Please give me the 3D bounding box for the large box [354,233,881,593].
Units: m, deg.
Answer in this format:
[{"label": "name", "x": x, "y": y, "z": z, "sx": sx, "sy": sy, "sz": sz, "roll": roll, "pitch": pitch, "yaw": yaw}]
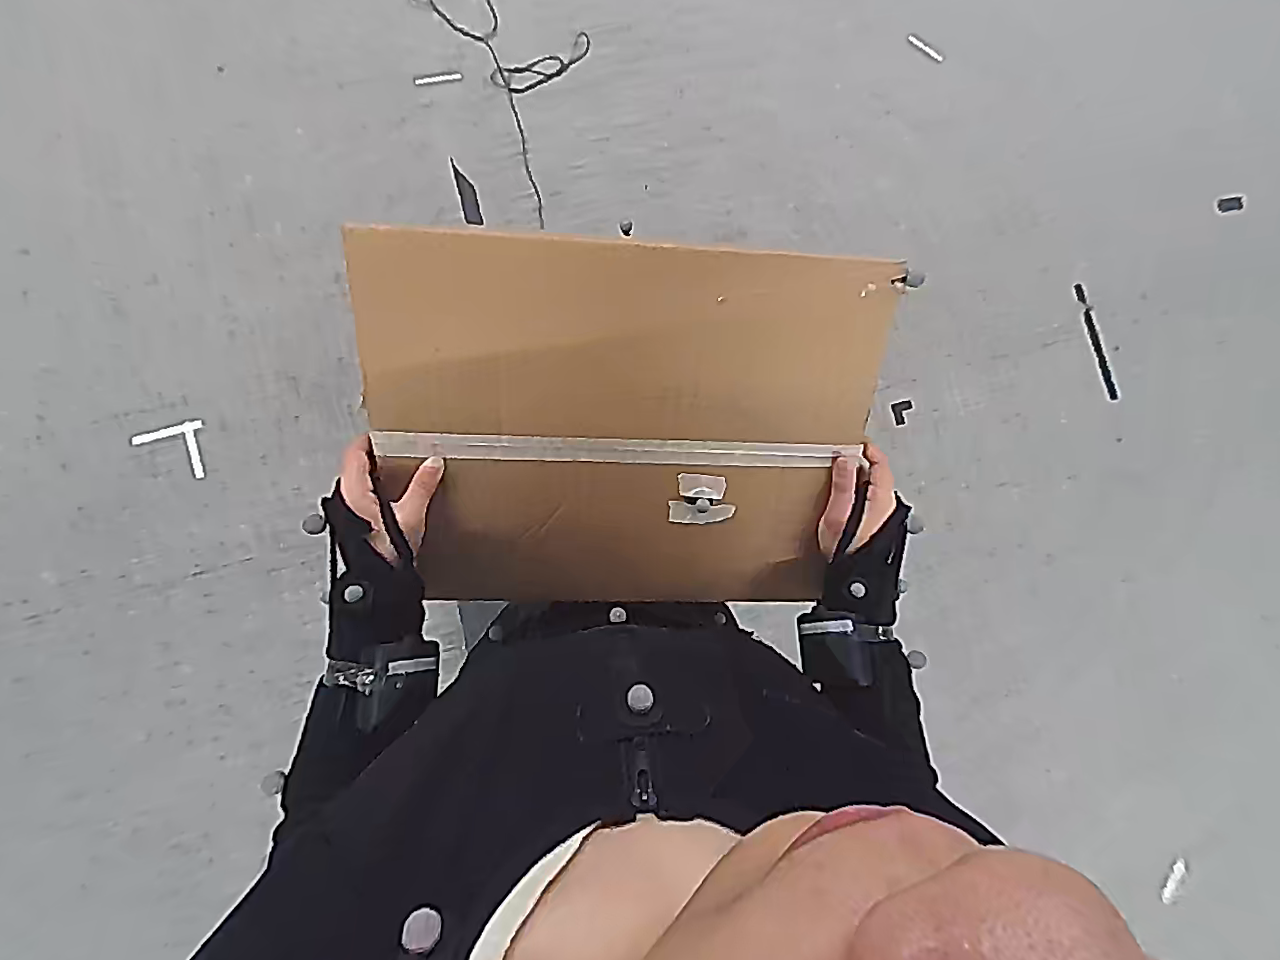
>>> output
[{"label": "large box", "x": -0.029, "y": -0.098, "z": 0.598, "sx": 0.408, "sy": 0.320, "sz": 0.320, "roll": 0, "pitch": 116, "yaw": -7}]
